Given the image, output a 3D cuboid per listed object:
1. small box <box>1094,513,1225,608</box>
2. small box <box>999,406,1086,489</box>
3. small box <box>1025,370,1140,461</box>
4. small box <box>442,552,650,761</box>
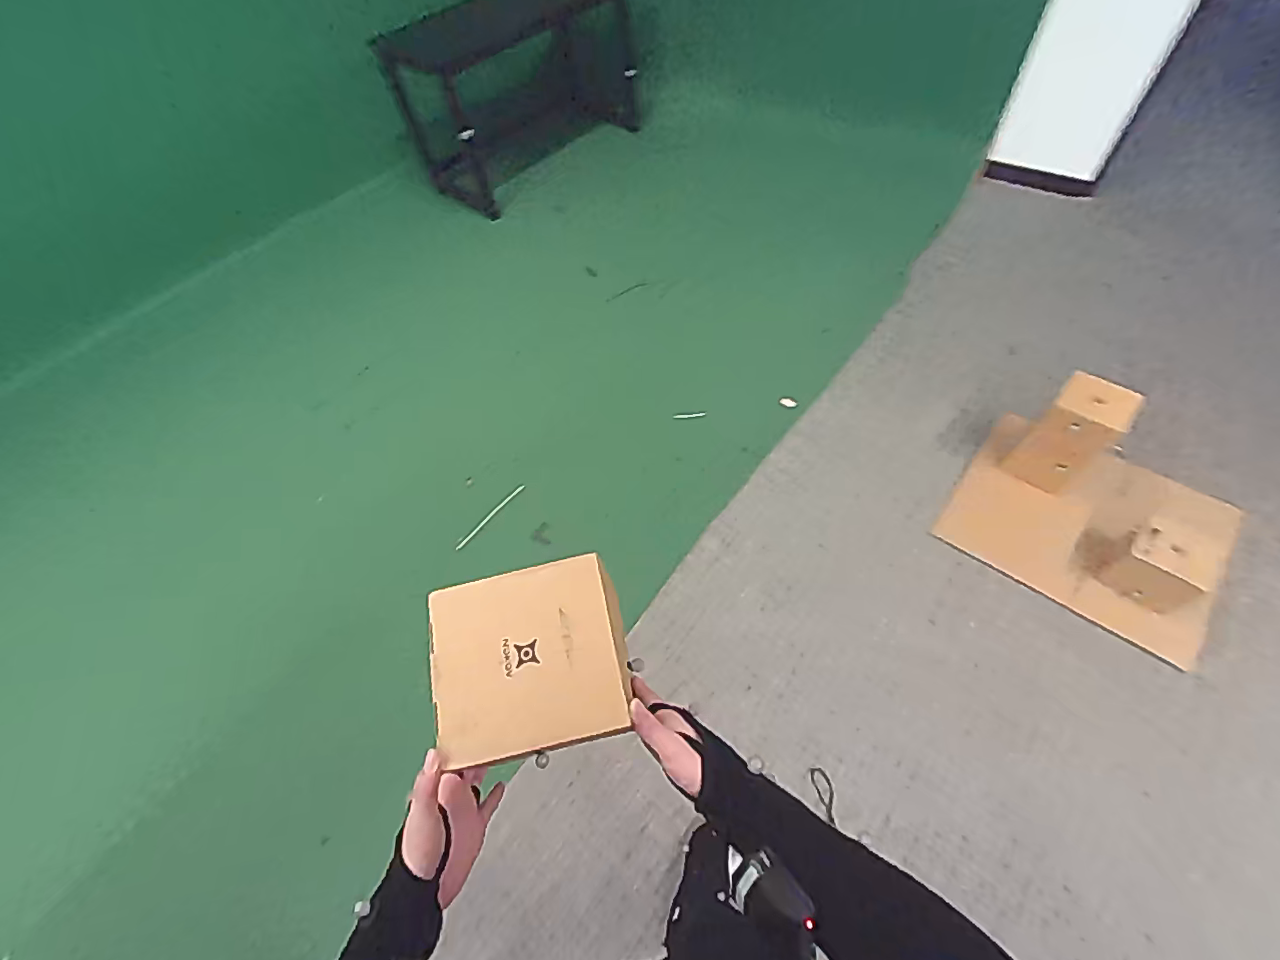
[{"bbox_3d":[1.413,0.228,1.480,0.179,0.176,0.168,36,67,26],"label":"small box"},{"bbox_3d":[1.287,-0.095,1.705,0.179,0.176,0.168,34,66,26],"label":"small box"},{"bbox_3d":[1.275,-0.180,1.568,0.179,0.176,0.168,34,67,26],"label":"small box"},{"bbox_3d":[-0.093,0.195,0.581,0.179,0.176,0.168,-12,65,-1],"label":"small box"}]
